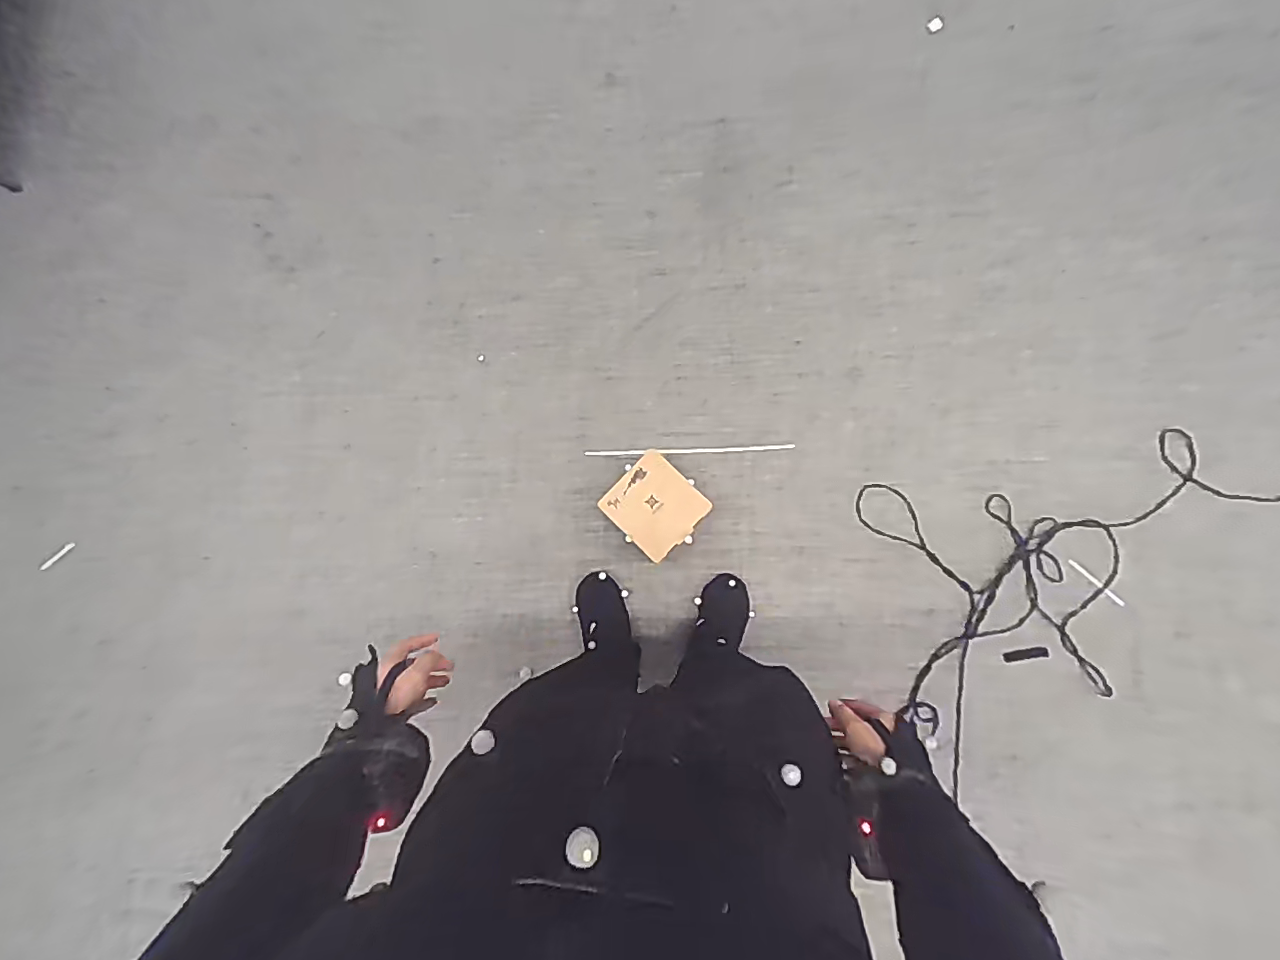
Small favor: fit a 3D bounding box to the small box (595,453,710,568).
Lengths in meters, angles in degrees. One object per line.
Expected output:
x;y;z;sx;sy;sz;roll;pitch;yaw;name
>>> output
0.030;0.065;1.160;0.179;0.176;0.168;45;88;7;small box
